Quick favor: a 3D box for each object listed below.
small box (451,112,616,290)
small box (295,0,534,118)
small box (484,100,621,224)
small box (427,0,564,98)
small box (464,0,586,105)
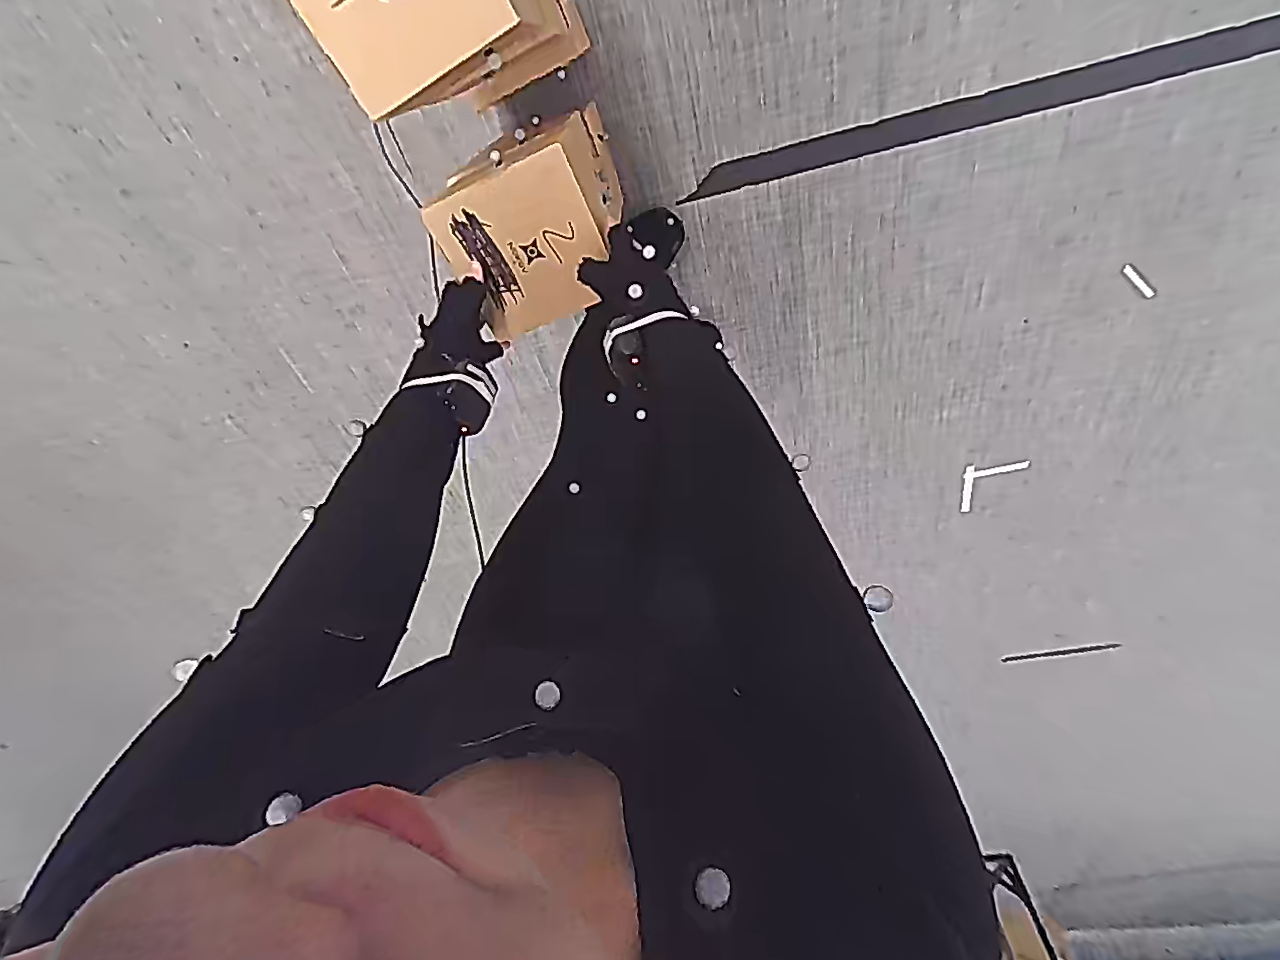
[{"bbox_3d":[-0.143,-0.414,0.797,0.179,0.176,0.168,-16,128,13],"label":"small box"},{"bbox_3d":[-0.216,-0.487,0.516,0.179,0.176,0.168,-20,127,16],"label":"small box"},{"bbox_3d":[-0.137,-0.521,0.921,0.179,0.176,0.168,-12,129,11],"label":"small box"},{"bbox_3d":[-0.207,-0.591,0.644,0.179,0.176,0.168,-18,128,14],"label":"small box"},{"bbox_3d":[-0.193,-0.680,0.784,0.179,0.176,0.168,-18,128,15],"label":"small box"}]
